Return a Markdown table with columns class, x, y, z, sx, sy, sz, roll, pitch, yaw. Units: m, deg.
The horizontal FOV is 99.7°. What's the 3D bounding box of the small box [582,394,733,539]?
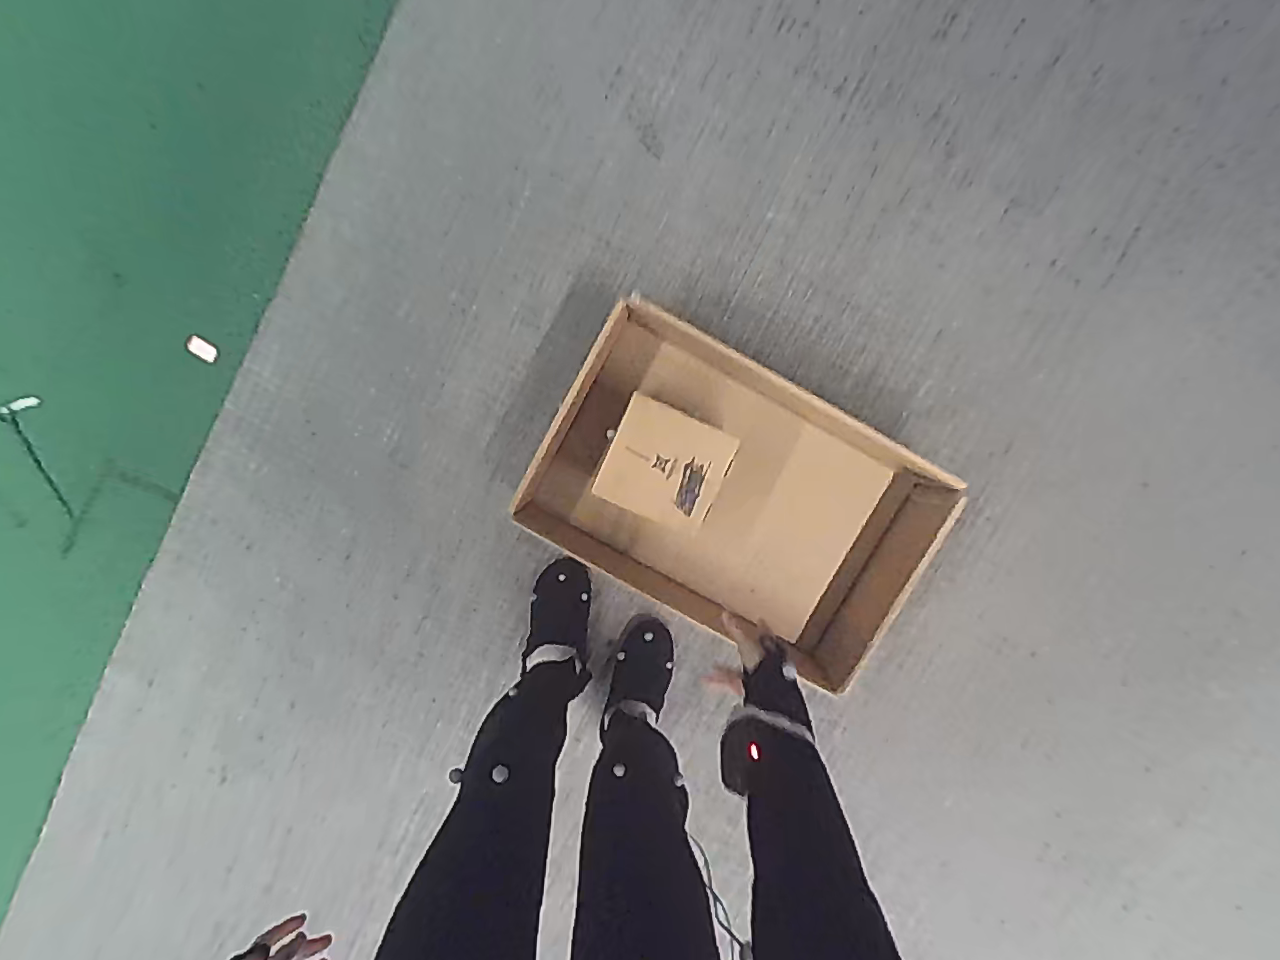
| class | x | y | z | sx | sy | sz | roll | pitch | yaw |
| --- | --- | --- | --- | --- | --- | --- | --- | --- | --- |
| small box | 0.029 | -0.028 | 0.877 | 0.179 | 0.176 | 0.168 | 26 | 96 | 0 |
